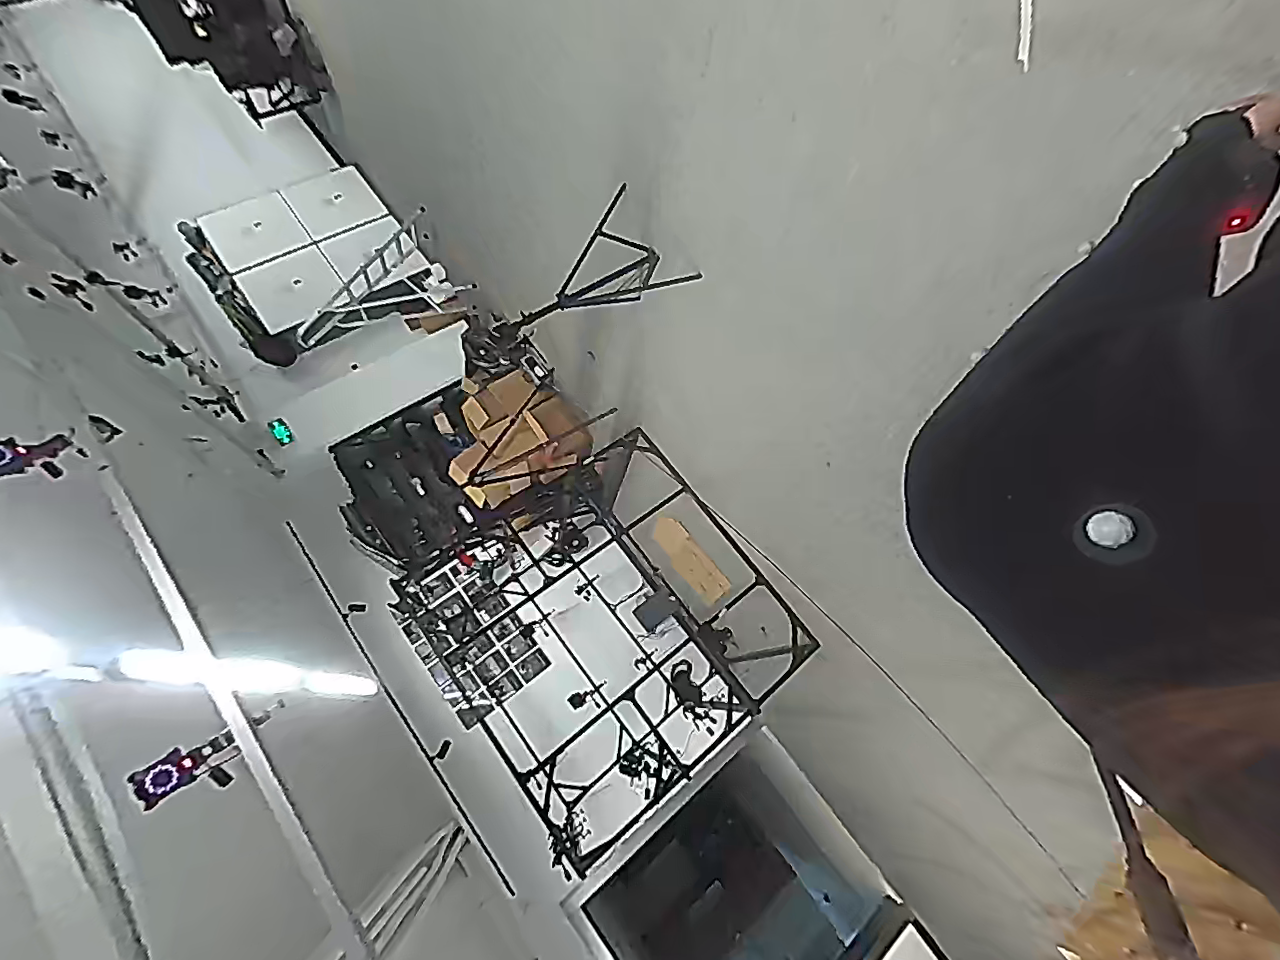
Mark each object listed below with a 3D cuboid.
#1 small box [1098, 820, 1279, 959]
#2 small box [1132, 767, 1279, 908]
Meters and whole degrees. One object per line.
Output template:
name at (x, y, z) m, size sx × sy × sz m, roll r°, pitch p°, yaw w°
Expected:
small box at (1.088, 0.823, 1.073) m, size 0.179 × 0.176 × 0.168 m, roll 51°, pitch 162°, yaw 11°
small box at (1.215, 0.735, 1.131) m, size 0.168 × 0.176 × 0.179 m, roll 51°, pitch 161°, yaw 11°
